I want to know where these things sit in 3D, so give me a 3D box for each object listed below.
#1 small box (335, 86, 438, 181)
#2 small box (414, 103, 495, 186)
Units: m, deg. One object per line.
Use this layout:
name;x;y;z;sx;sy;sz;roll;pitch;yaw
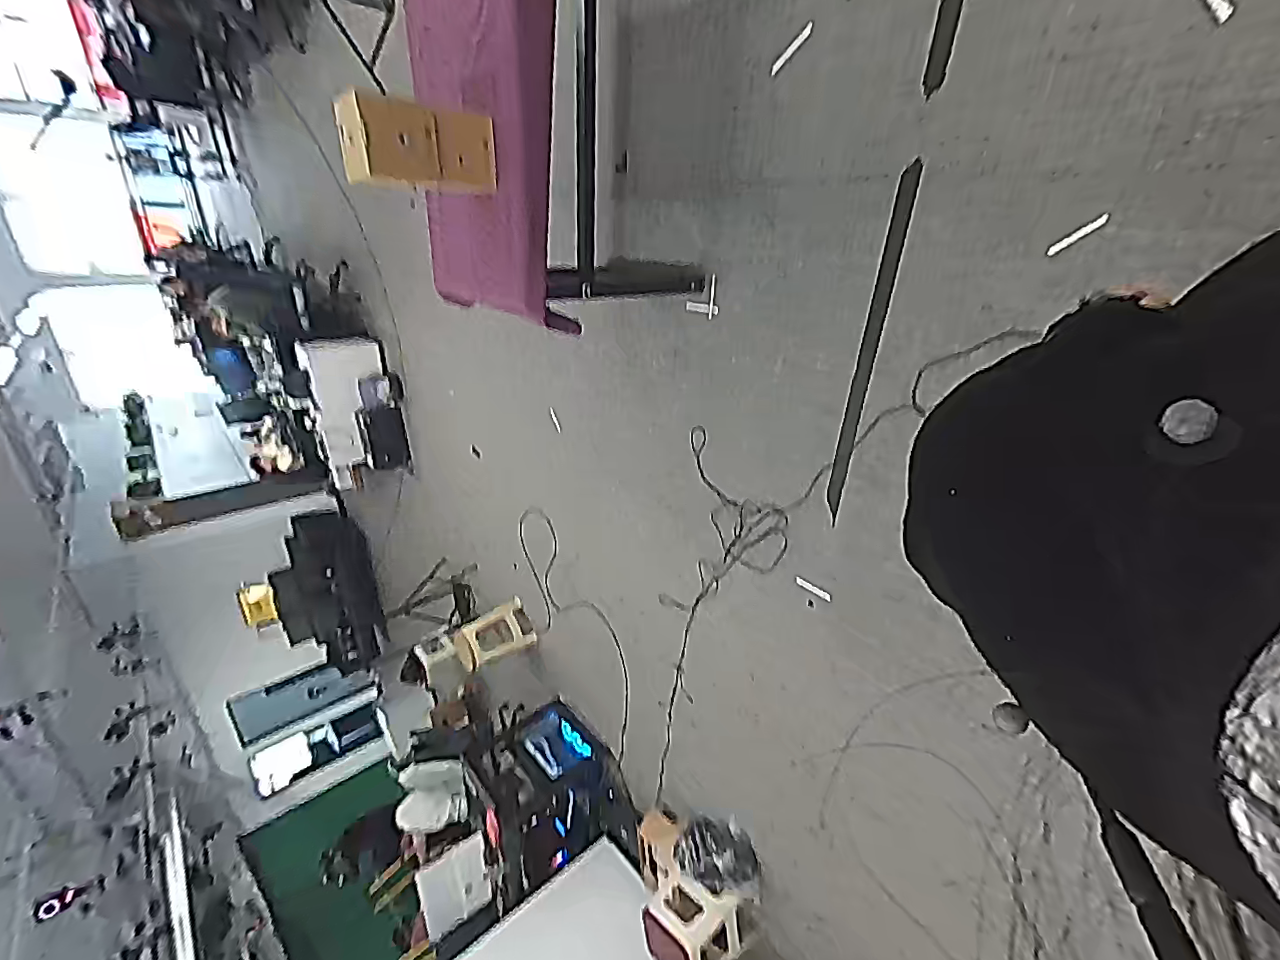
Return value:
small box;-0.591;-0.810;1.279;0.179;0.176;0.168;25;124;42
small box;-0.485;-0.861;1.397;0.179;0.176;0.168;27;125;42
